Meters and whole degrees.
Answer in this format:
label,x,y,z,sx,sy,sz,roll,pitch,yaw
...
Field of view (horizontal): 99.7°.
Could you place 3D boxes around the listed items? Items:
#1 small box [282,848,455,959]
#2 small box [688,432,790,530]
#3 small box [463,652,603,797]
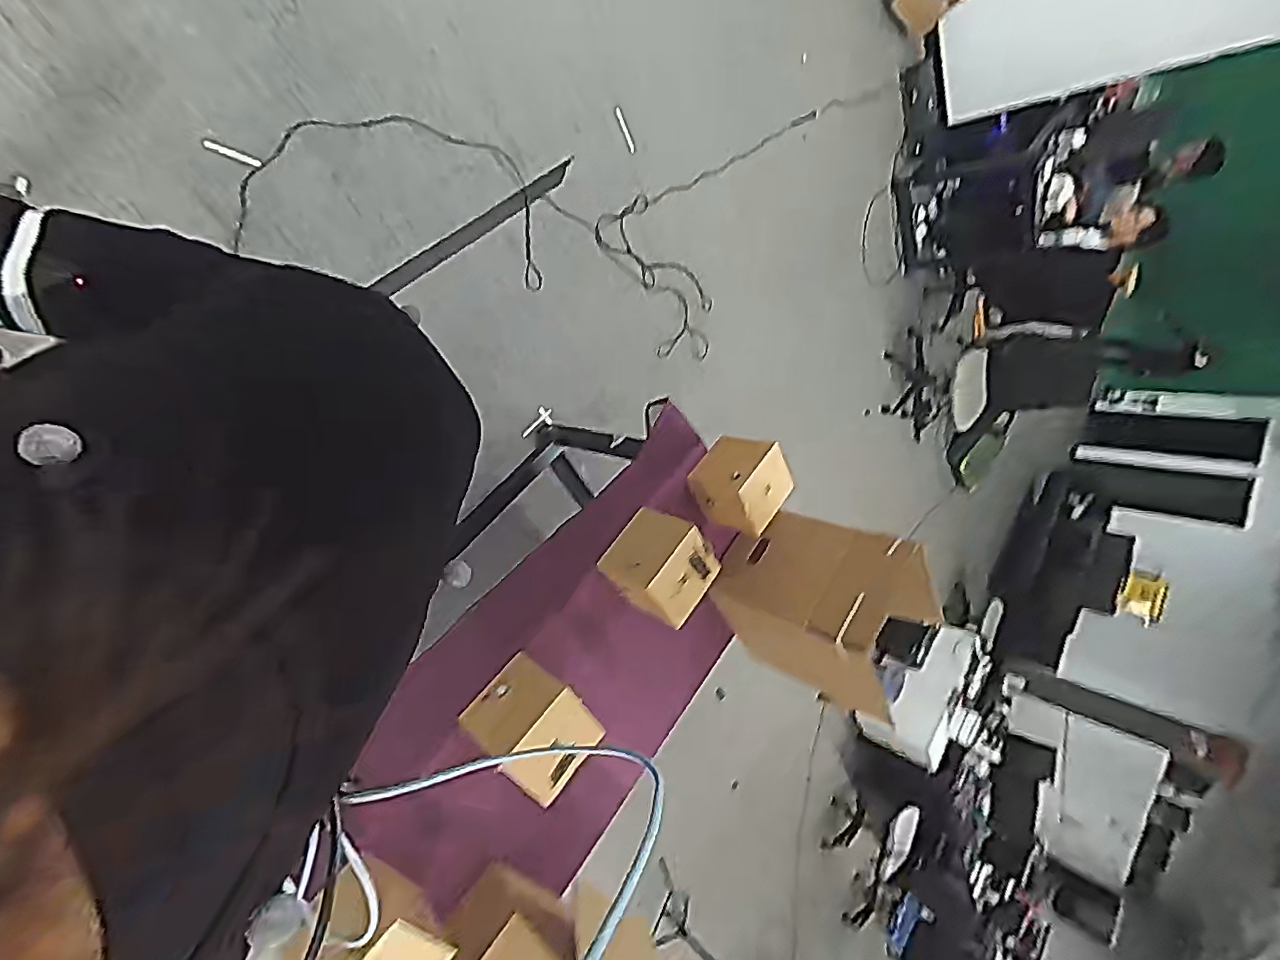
label,x,y,z,sx,sy,sz,roll,pitch,yaw
small box,-0.453,0.768,0.906,0.168,0.176,0.179,-44,128,-28
small box,0.253,-0.005,1.385,0.179,0.176,0.168,-49,130,-22
small box,-0.210,0.471,1.065,0.168,0.176,0.179,-46,128,-26
